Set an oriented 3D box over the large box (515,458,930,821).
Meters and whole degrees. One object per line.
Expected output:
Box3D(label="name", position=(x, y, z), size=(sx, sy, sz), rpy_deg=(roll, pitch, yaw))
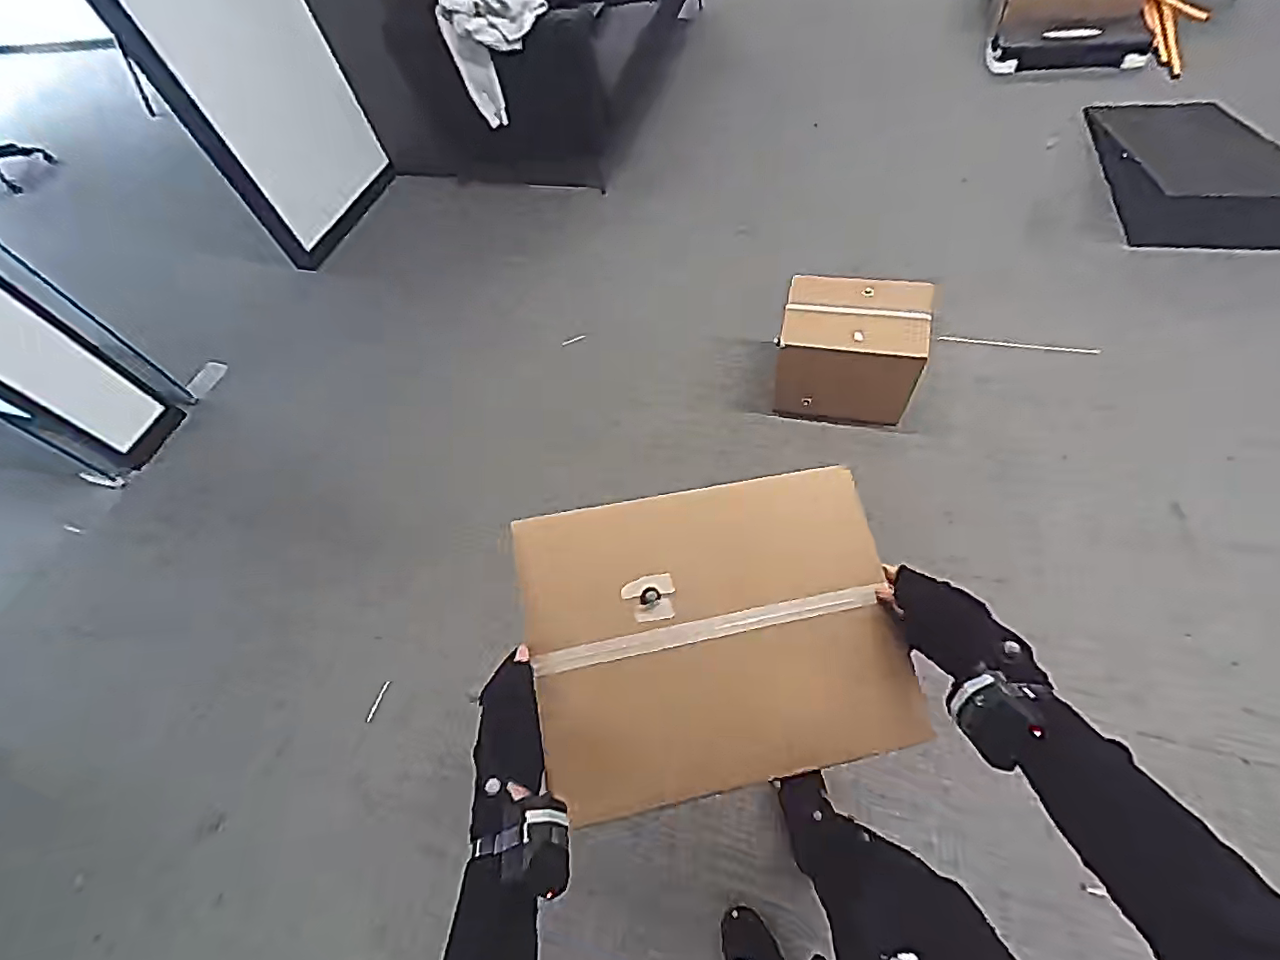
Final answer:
Box3D(label="large box", position=(0.076, 0.191, 0.723), size=(0.408, 0.320, 0.320), rpy_deg=(-9, 74, -6))
